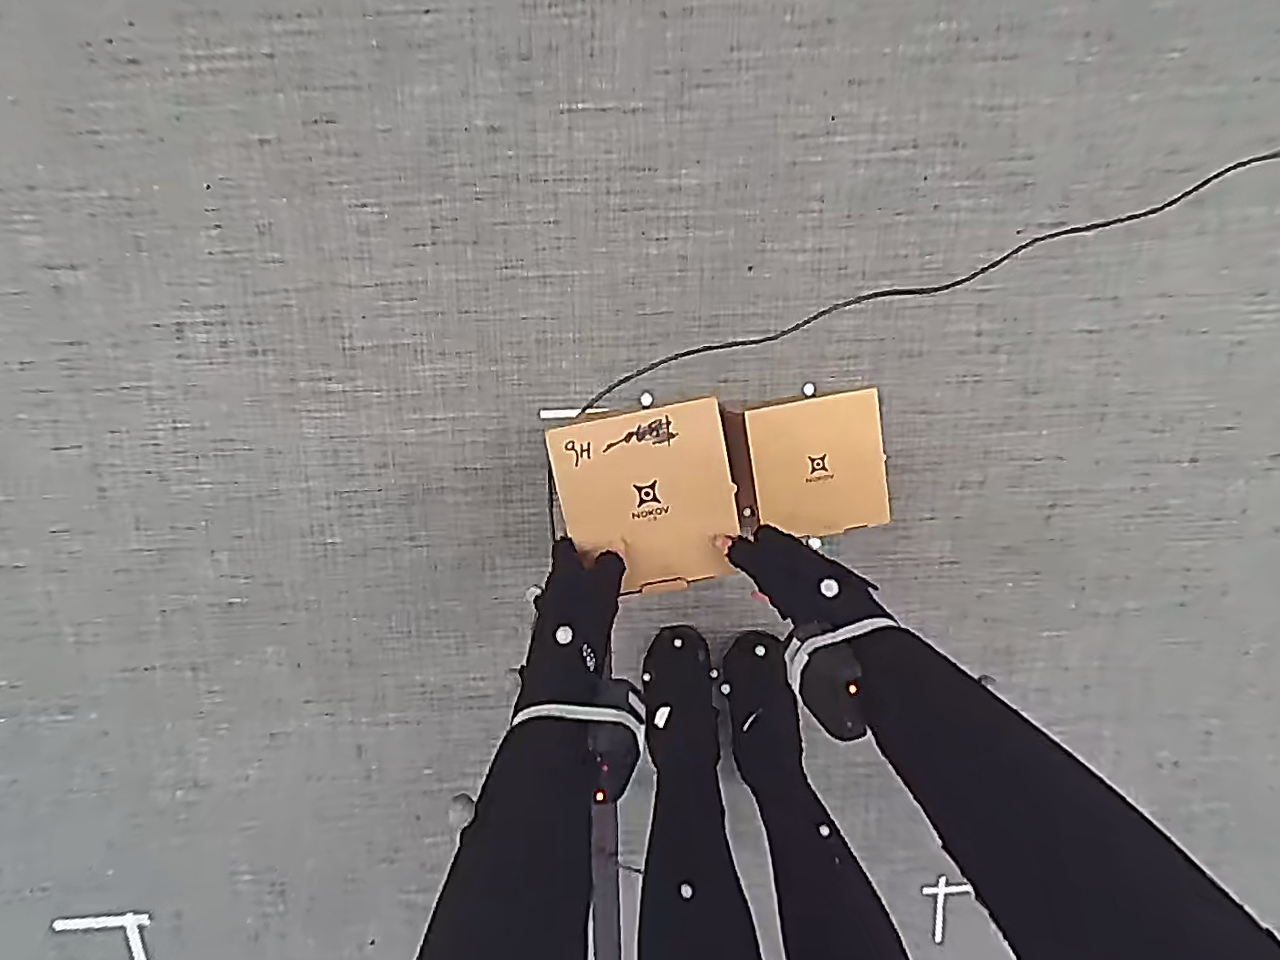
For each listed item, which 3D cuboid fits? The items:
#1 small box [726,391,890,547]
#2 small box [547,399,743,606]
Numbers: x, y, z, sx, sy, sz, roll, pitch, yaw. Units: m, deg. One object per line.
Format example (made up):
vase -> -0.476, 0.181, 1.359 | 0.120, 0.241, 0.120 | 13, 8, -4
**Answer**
small box -> 0.223, -0.023, 0.754 | 0.168, 0.176, 0.179 | -11, 100, 2
small box -> 0.007, 0.013, 0.594 | 0.168, 0.176, 0.179 | -11, 100, 1
